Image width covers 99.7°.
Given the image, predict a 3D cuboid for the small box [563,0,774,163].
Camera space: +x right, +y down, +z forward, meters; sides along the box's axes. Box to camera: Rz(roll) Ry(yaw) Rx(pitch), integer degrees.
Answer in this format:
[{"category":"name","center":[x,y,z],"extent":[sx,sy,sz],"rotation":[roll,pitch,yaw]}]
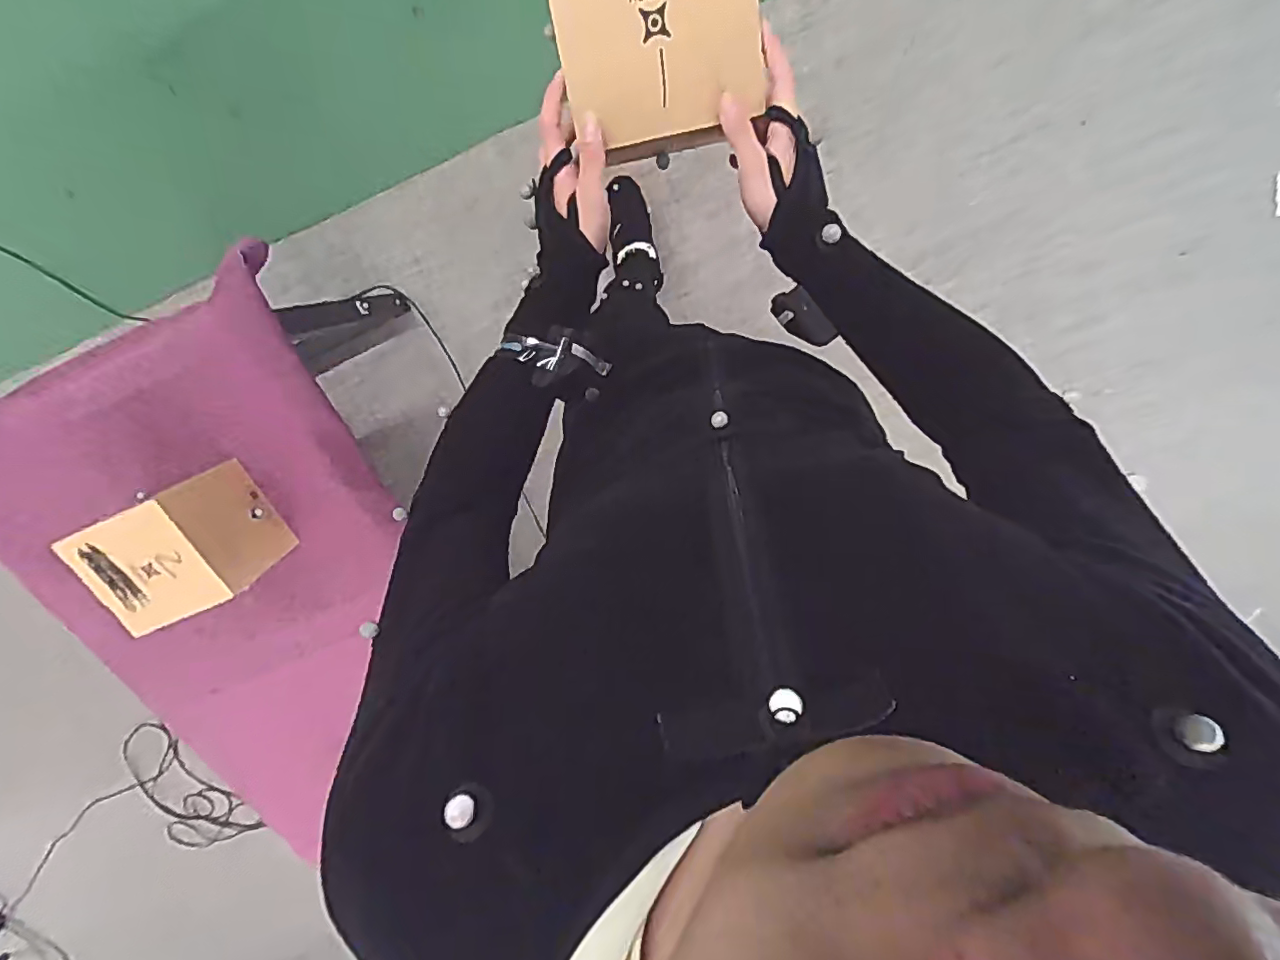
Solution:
[{"category":"small box","center":[0.020,-0.410,0.497],"extent":[0.168,0.176,0.179],"rotation":[-9,116,4]}]
